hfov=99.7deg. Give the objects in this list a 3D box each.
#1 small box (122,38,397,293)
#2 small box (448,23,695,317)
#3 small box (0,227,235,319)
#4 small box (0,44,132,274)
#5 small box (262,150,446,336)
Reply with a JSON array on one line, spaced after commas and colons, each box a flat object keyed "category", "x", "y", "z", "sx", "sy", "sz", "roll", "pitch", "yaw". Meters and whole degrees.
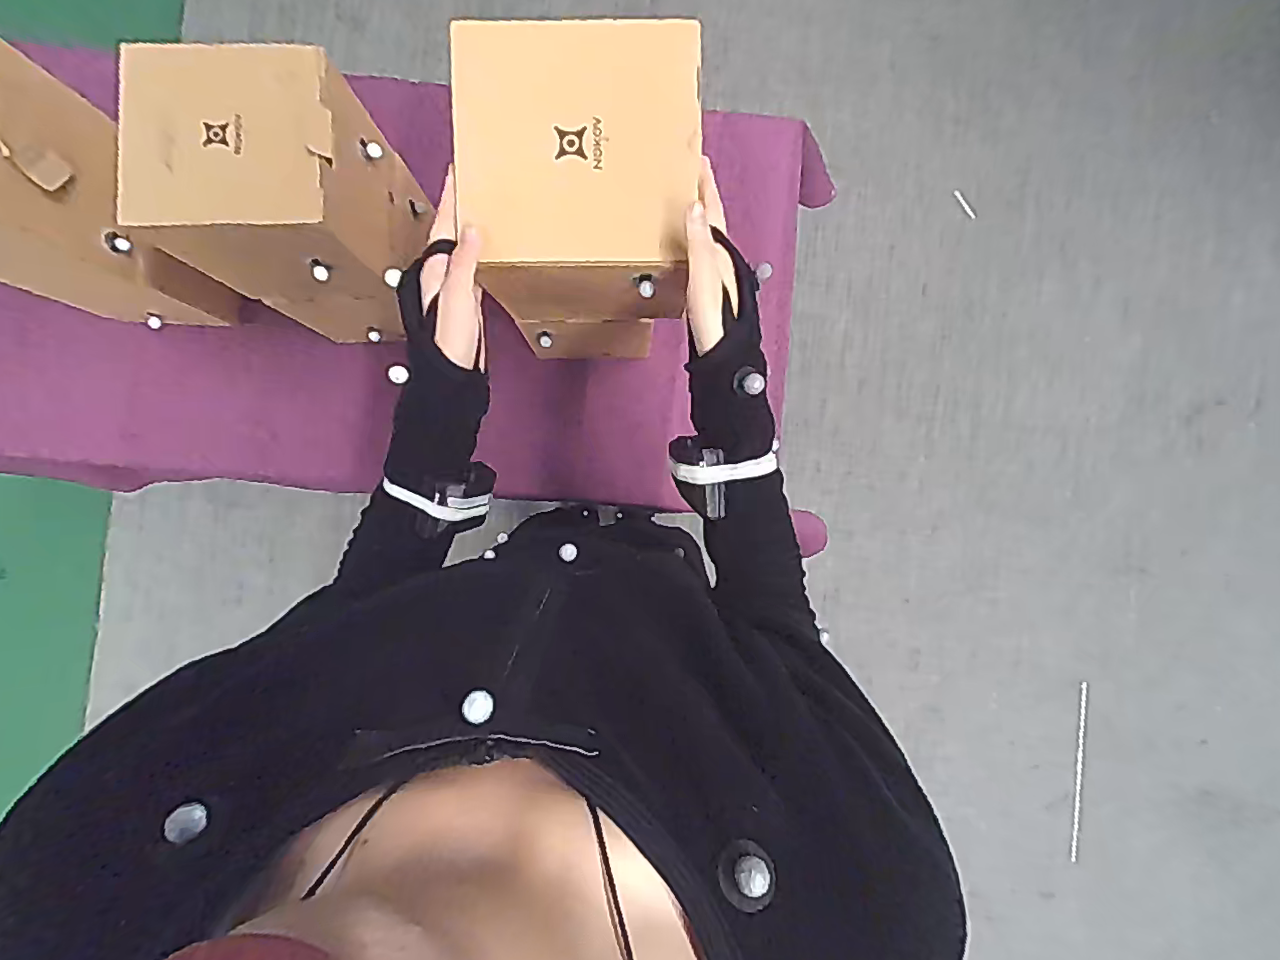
[{"category": "small box", "x": -0.367, "y": -0.303, "z": 0.554, "sx": 0.179, "sy": 0.176, "sz": 0.168, "roll": -1, "pitch": 88, "yaw": -1}, {"category": "small box", "x": -0.048, "y": -0.241, "z": 0.462, "sx": 0.179, "sy": 0.176, "sz": 0.168, "roll": 0, "pitch": 94, "yaw": 0}, {"category": "small box", "x": -0.666, "y": -0.318, "z": 0.709, "sx": 0.179, "sy": 0.176, "sz": 0.168, "roll": 3, "pitch": 89, "yaw": -1}, {"category": "small box", "x": -0.661, "y": -0.322, "z": 0.545, "sx": 0.179, "sy": 0.176, "sz": 0.168, "roll": 3, "pitch": 89, "yaw": -1}, {"category": "small box", "x": -0.368, "y": -0.302, "z": 0.718, "sx": 0.168, "sy": 0.176, "sz": 0.179, "roll": -2, "pitch": 90, "yaw": -1}]
